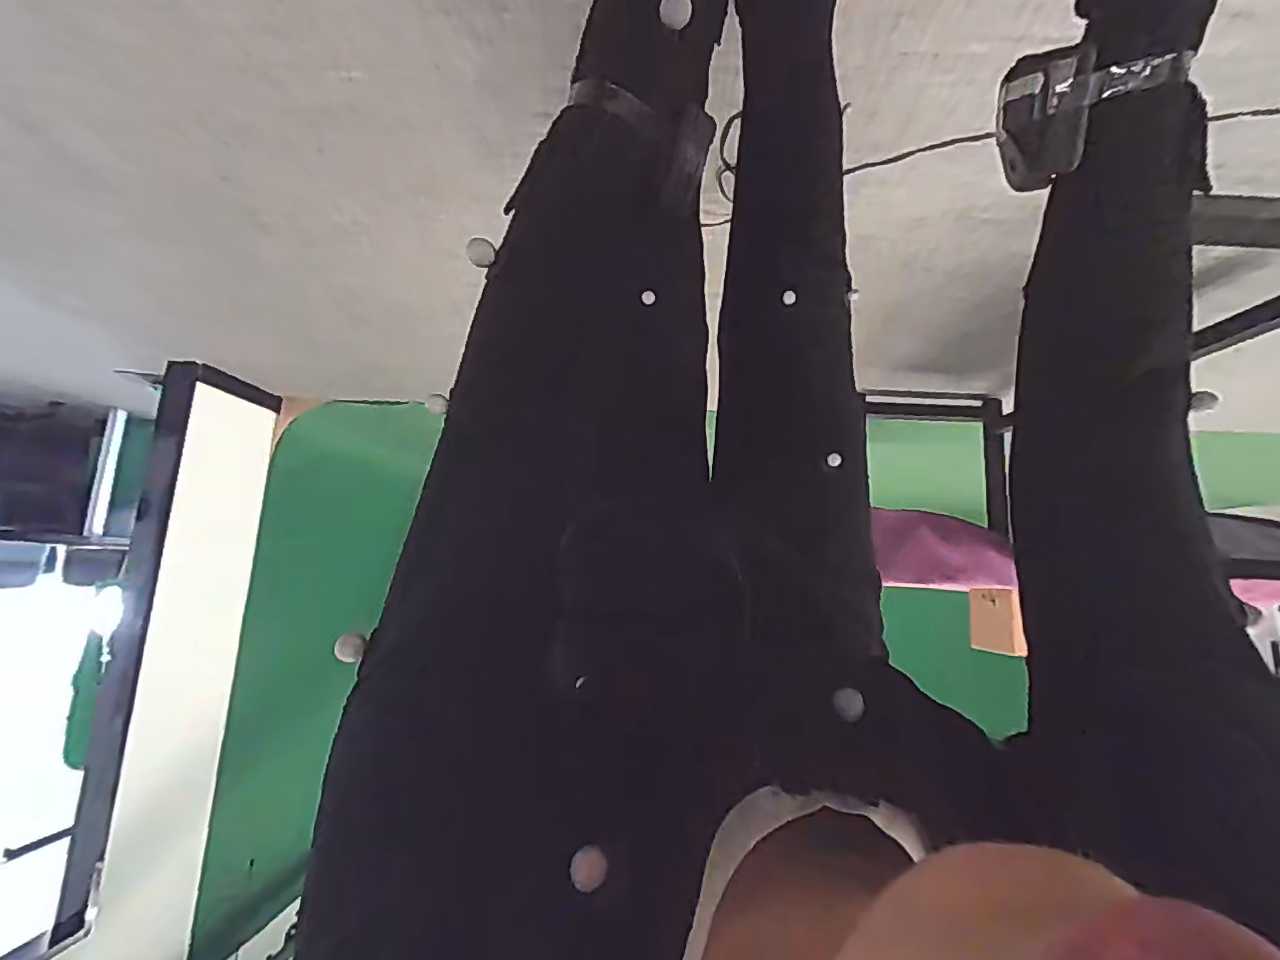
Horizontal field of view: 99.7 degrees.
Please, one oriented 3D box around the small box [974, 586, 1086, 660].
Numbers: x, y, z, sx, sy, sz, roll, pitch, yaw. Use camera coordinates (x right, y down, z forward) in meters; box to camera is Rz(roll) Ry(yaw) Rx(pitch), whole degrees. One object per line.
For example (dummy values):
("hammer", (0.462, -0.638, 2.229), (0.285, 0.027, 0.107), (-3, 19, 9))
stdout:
("small box", (1.013, 0.370, 1.416), (0.179, 0.176, 0.168), (4, 169, -3))
